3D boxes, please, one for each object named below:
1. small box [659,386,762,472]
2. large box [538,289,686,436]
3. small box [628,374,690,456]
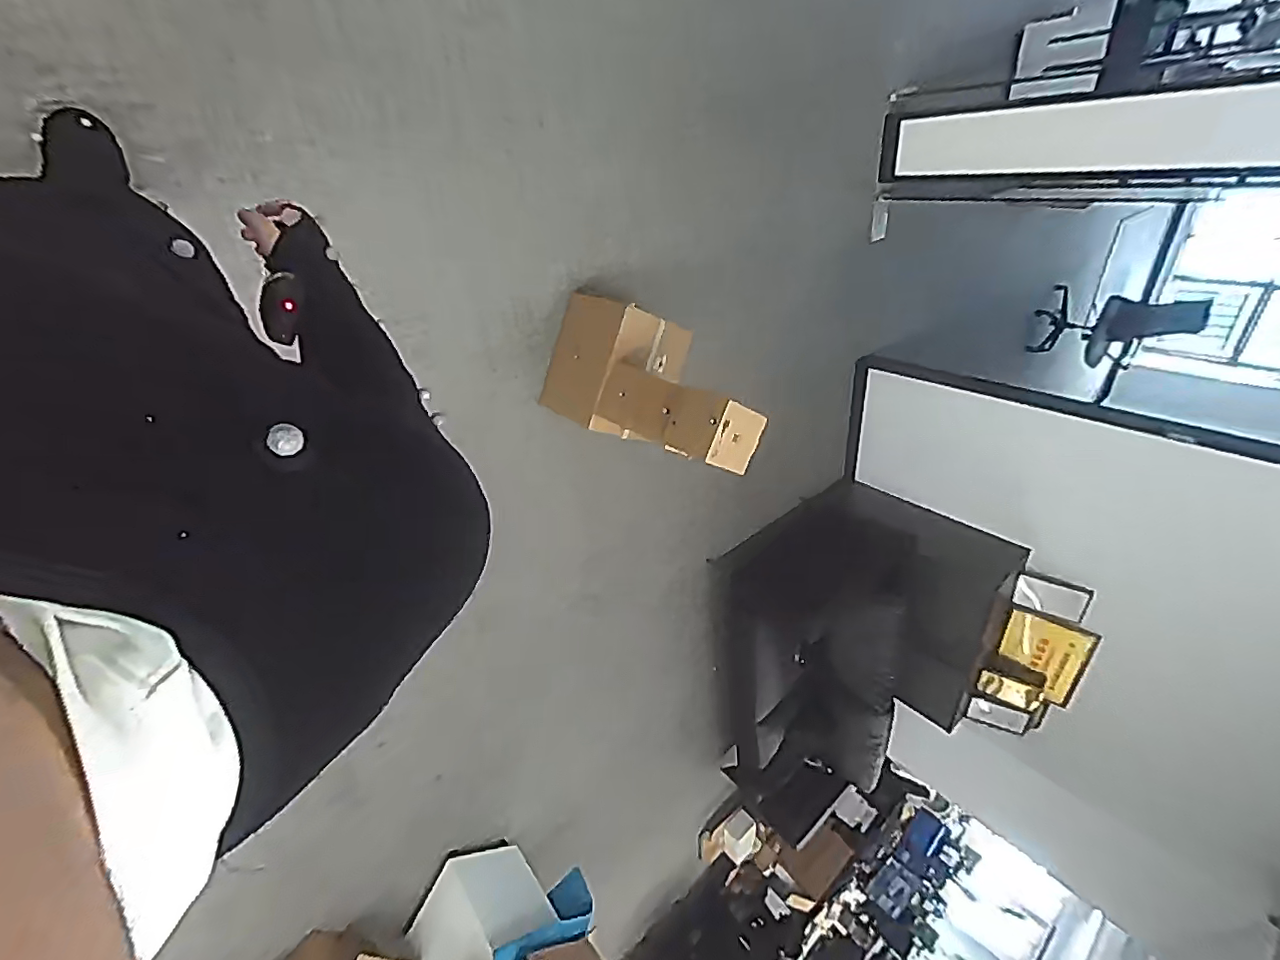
[{"bbox_3d":[0.185,-0.137,1.434,0.179,0.176,0.168,14,100,-46],"label":"small box"},{"bbox_3d":[-0.105,-0.396,1.863,0.320,0.320,0.408,7,106,-46],"label":"large box"},{"bbox_3d":[0.089,-0.187,1.558,0.168,0.176,0.179,13,102,-45],"label":"small box"}]
